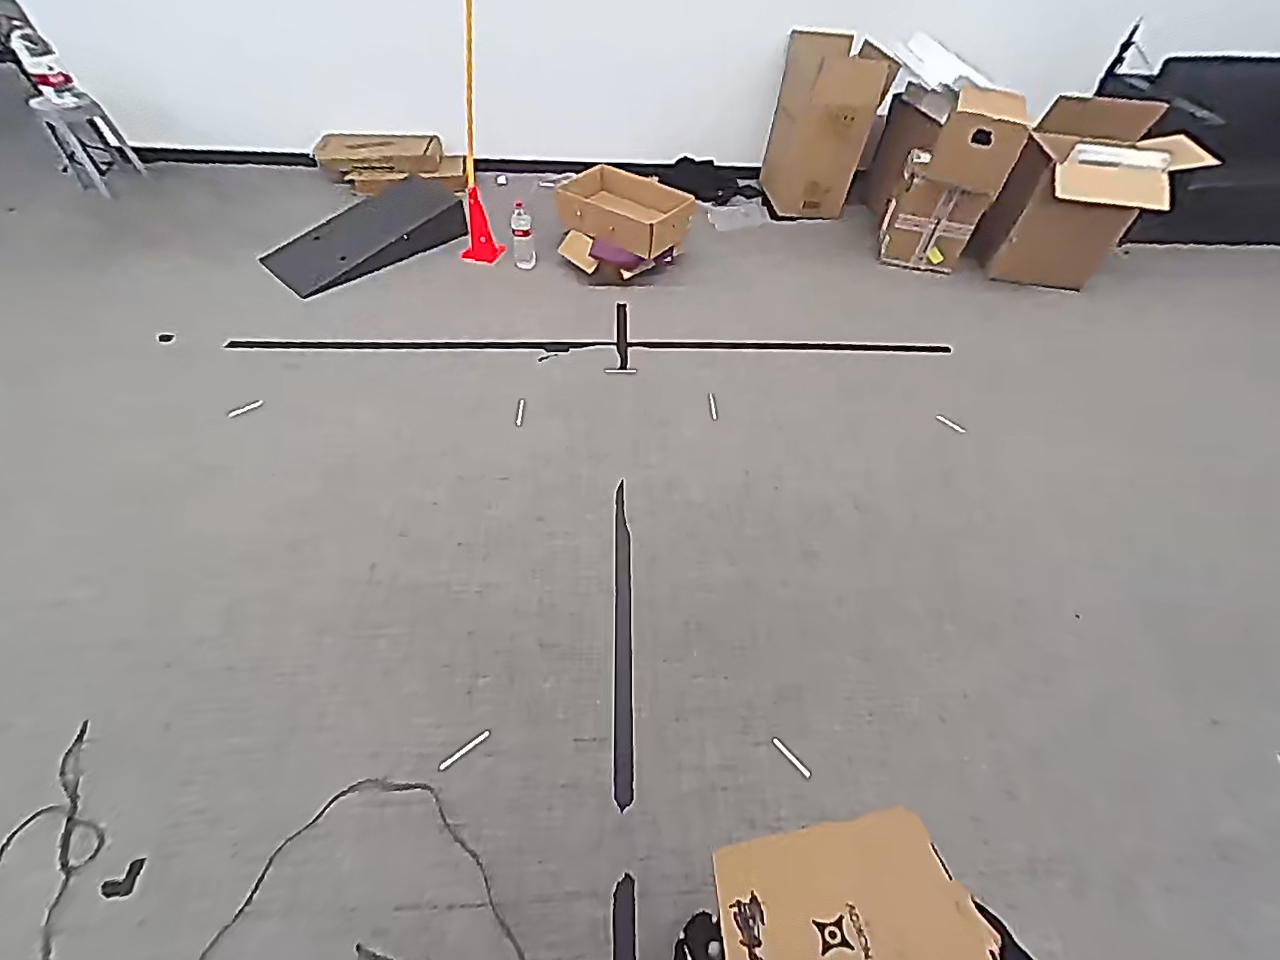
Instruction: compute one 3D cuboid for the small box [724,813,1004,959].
[{"bbox_3d":[0.174,0.401,0.412,0.179,0.176,0.168,-14,15,4],"label":"small box"}]
